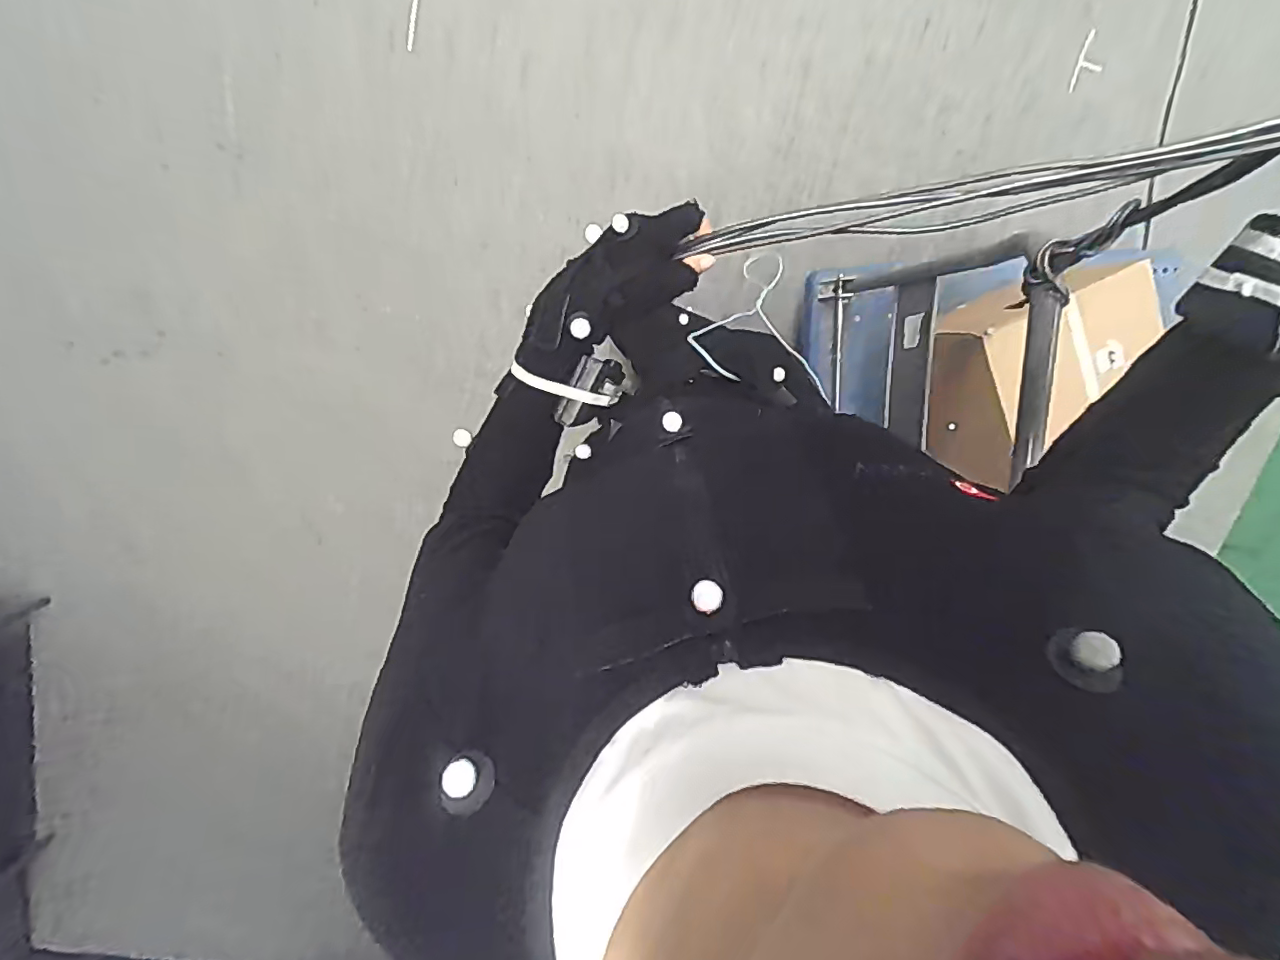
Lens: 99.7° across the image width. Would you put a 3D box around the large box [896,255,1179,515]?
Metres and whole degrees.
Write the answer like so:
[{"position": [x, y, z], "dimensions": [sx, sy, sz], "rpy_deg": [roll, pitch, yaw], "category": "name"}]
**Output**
[{"position": [0.817, -0.199, 1.153], "dimensions": [0.320, 0.320, 0.408], "rpy_deg": [-25, 104, 3], "category": "large box"}]
